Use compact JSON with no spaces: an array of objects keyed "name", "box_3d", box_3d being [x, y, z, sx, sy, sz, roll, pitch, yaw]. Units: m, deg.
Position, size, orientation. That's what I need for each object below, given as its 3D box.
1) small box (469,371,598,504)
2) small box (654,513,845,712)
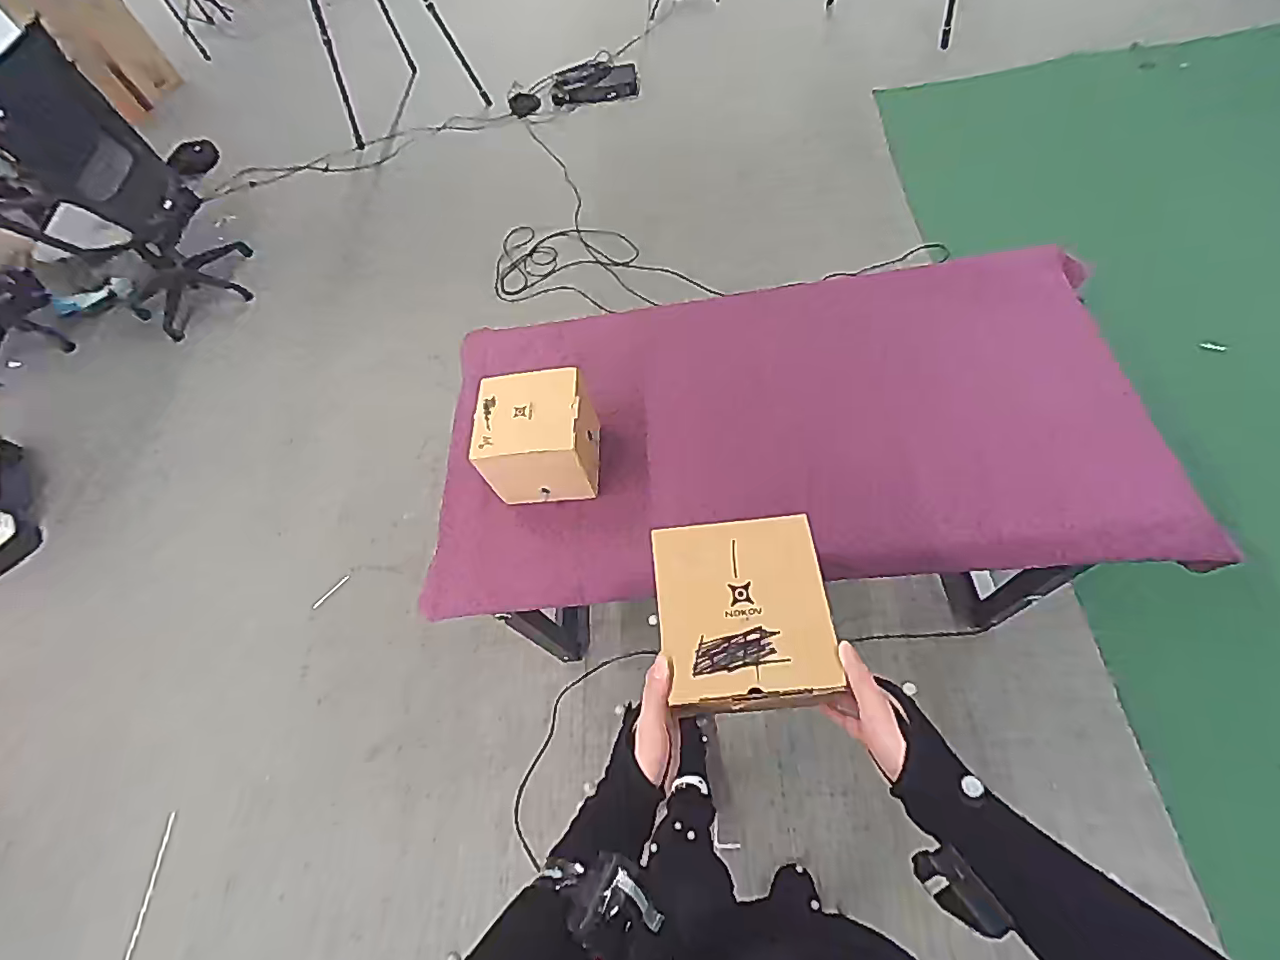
[{"name":"small box","box_3d":[-0.174,-0.068,0.946,0.179,0.176,0.168,-4,60,7]},{"name":"small box","box_3d":[0.108,0.155,0.596,0.168,0.176,0.179,-6,61,3]}]
